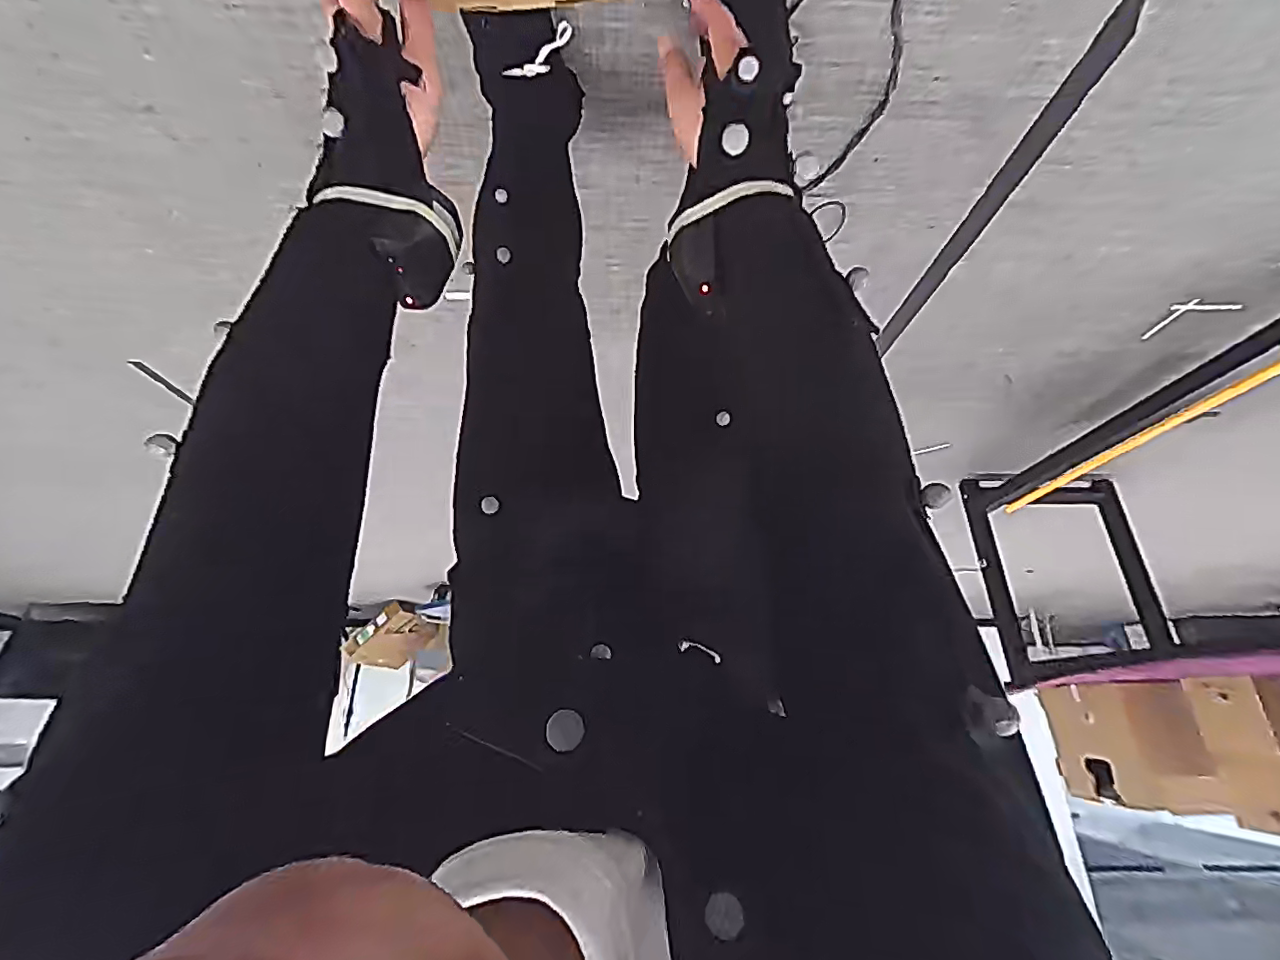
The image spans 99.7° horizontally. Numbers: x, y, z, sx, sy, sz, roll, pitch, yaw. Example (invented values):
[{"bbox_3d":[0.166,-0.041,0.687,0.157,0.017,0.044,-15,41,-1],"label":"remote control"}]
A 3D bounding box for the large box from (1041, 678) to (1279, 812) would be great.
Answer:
[{"bbox_3d":[1.482,0.744,1.543,0.408,0.320,0.320,-1,157,-2],"label":"large box"}]

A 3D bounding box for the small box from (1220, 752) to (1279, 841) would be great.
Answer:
[{"bbox_3d":[1.457,0.698,1.193,0.168,0.176,0.179,1,156,-2],"label":"small box"}]
